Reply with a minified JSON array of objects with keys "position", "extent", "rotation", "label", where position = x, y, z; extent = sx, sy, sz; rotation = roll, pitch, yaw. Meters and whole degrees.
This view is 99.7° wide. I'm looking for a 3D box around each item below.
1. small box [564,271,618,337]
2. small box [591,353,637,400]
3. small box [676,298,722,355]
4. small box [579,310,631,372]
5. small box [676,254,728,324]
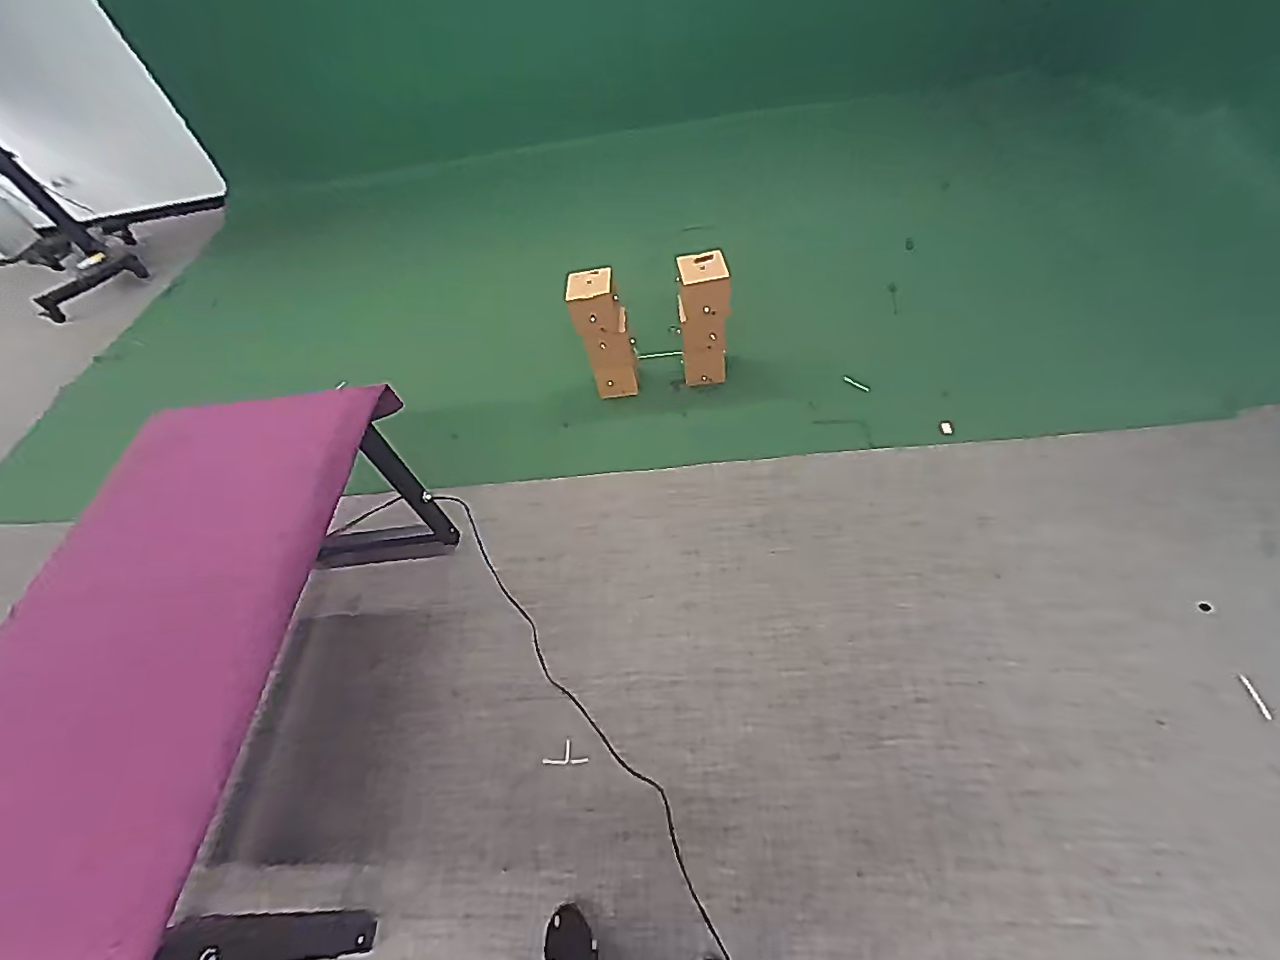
[{"position":[-0.181,-0.663,2.057],"extent":[0.168,0.176,0.179],"rotation":[-6,52,8],"label":"small box"},{"position":[-0.108,-0.458,2.305],"extent":[0.168,0.176,0.179],"rotation":[-7,51,7],"label":"small box"},{"position":[0.236,-0.611,2.145],"extent":[0.168,0.176,0.179],"rotation":[-5,53,5],"label":"small box"},{"position":[-0.136,-0.554,2.174],"extent":[0.179,0.176,0.168],"rotation":[-6,52,6],"label":"small box"},{"position":[0.228,-0.709,2.014],"extent":[0.168,0.176,0.179],"rotation":[-10,54,2],"label":"small box"}]
